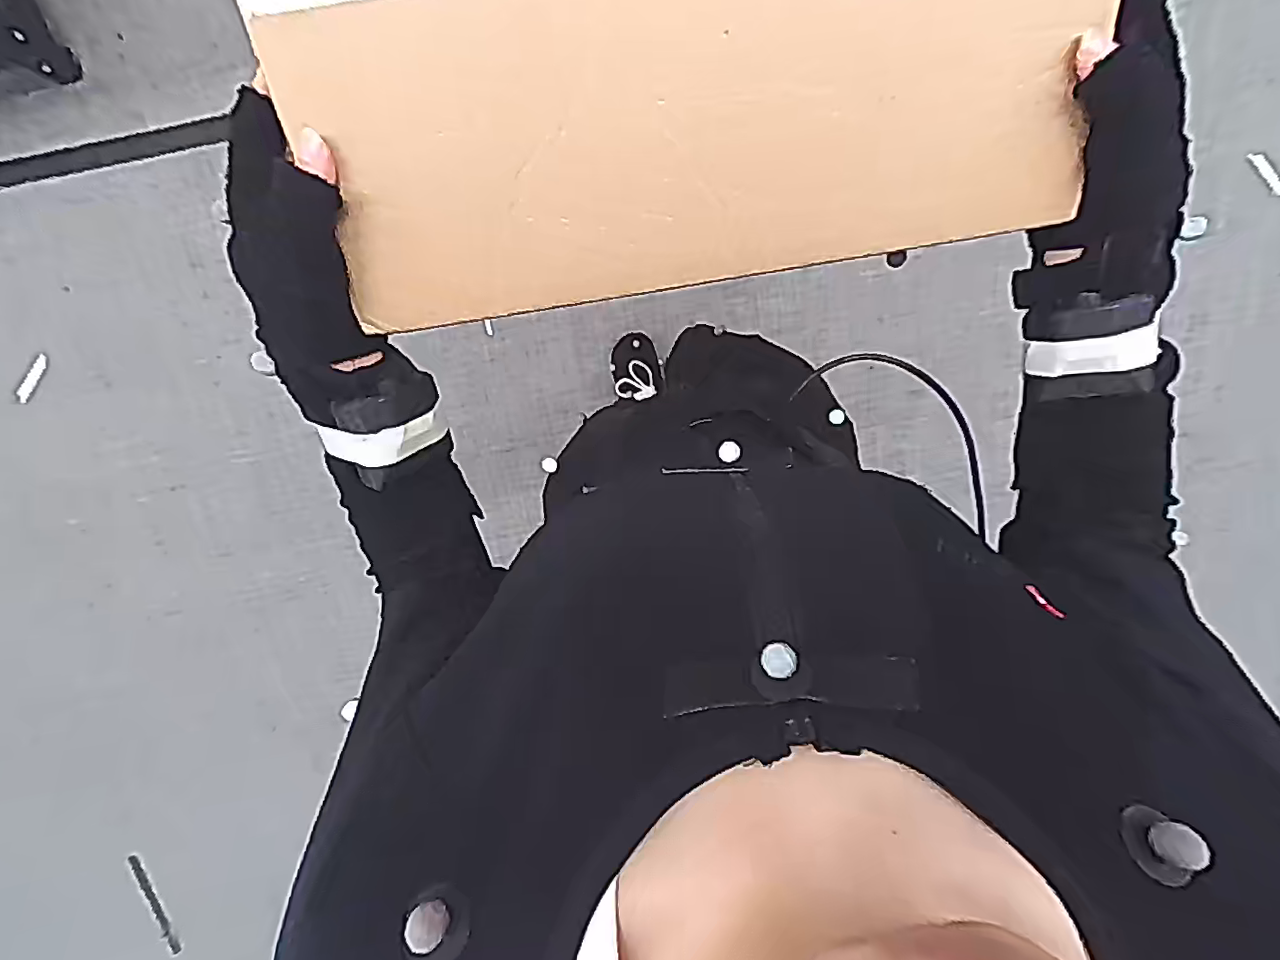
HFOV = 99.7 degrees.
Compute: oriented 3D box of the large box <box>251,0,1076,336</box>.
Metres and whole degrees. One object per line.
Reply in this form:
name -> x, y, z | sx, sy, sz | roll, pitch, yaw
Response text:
large box -> 0.008, -0.319, 0.382 | 0.408, 0.320, 0.320 | -9, 115, 2
